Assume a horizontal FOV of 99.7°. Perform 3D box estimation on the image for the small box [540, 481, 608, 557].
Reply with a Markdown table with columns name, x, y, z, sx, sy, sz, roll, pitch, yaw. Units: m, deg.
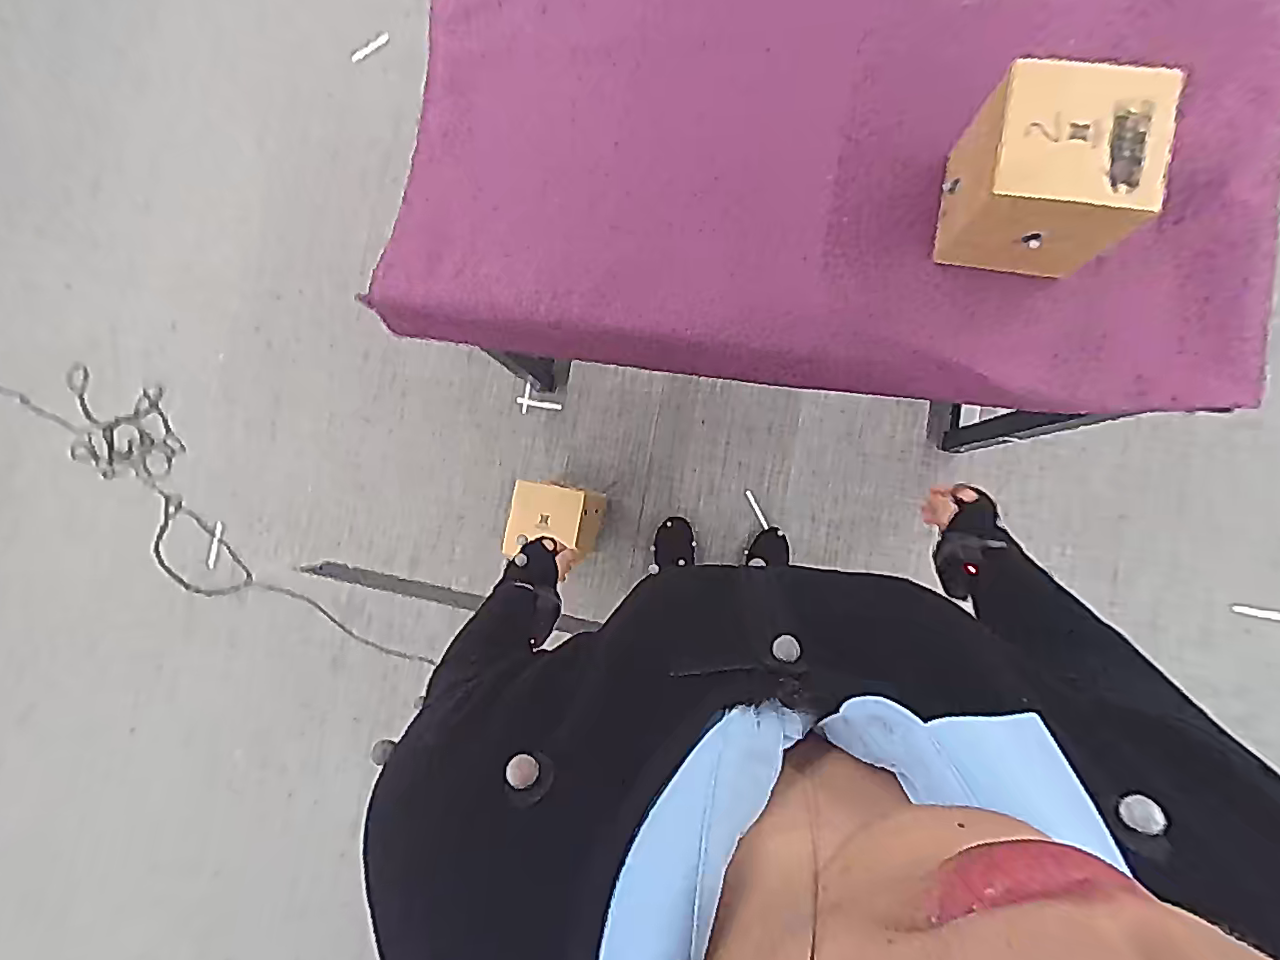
| name | x | y | z | sx | sy | sz | roll | pitch | yaw |
| --- | --- | --- | --- | --- | --- | --- | --- | --- | --- |
| small box | -0.195 | 0.111 | 1.464 | 0.168 | 0.176 | 0.179 | 16 | 88 | 6 |

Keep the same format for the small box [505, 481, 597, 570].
| name | x | y | z | sx | sy | sz | roll | pitch | yaw |
| --- | --- | --- | --- | --- | --- | --- | --- | --- | --- |
| small box | -0.205 | 0.106 | 1.299 | 0.168 | 0.176 | 0.179 | 10 | 88 | 6 |
